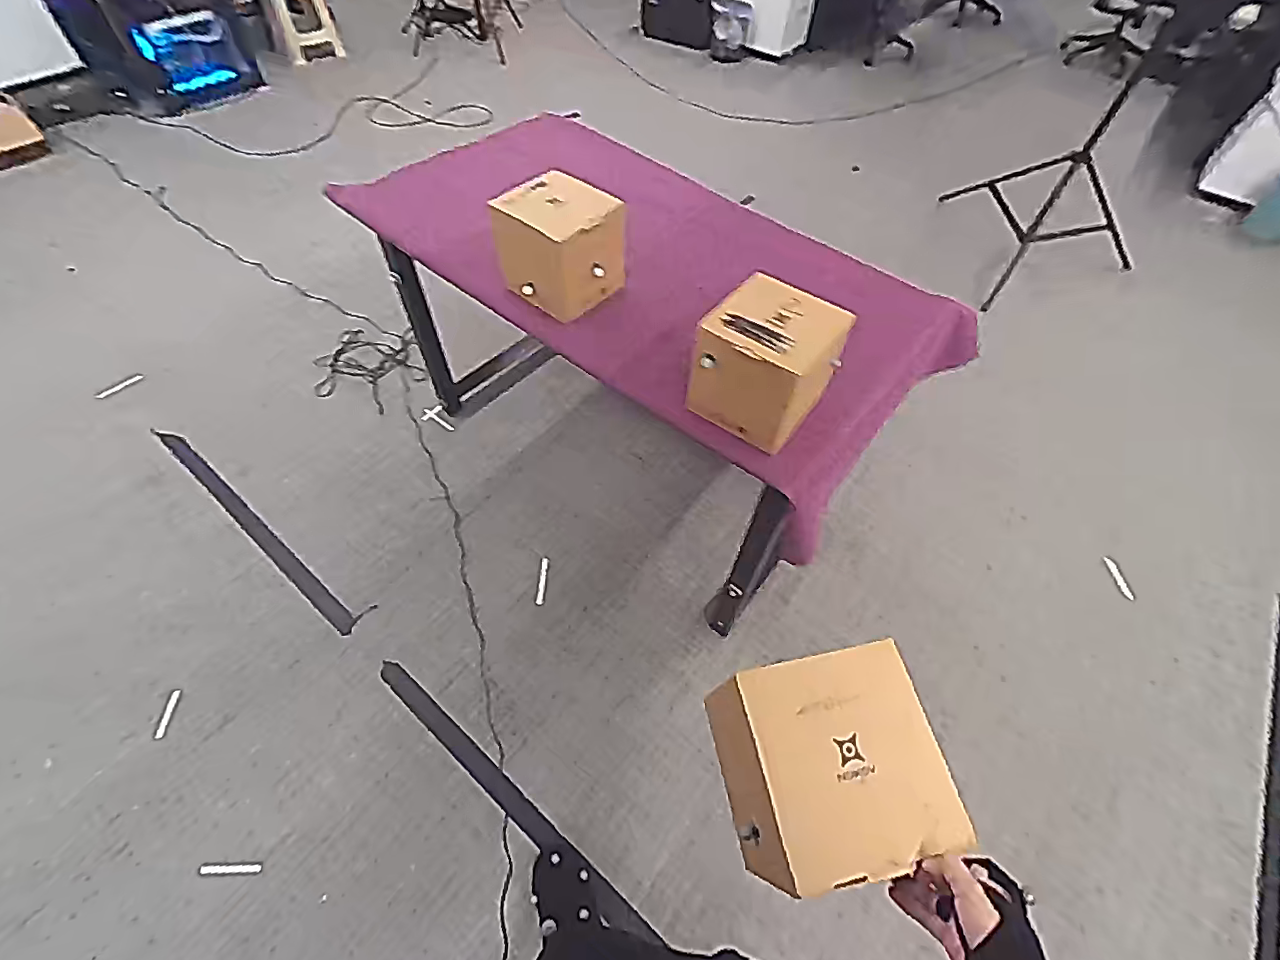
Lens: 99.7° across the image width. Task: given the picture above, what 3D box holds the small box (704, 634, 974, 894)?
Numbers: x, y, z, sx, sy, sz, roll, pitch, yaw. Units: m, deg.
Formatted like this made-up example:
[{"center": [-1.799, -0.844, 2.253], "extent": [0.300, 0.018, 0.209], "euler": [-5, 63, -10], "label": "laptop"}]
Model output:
[{"center": [0.175, 0.273, 0.541], "extent": [0.168, 0.176, 0.179], "euler": [-9, 61, -11], "label": "small box"}]

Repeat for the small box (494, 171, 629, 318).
[{"center": [-0.137, -0.426, 0.997], "extent": [0.179, 0.176, 0.168], "euler": [36, 61, 20], "label": "small box"}]
